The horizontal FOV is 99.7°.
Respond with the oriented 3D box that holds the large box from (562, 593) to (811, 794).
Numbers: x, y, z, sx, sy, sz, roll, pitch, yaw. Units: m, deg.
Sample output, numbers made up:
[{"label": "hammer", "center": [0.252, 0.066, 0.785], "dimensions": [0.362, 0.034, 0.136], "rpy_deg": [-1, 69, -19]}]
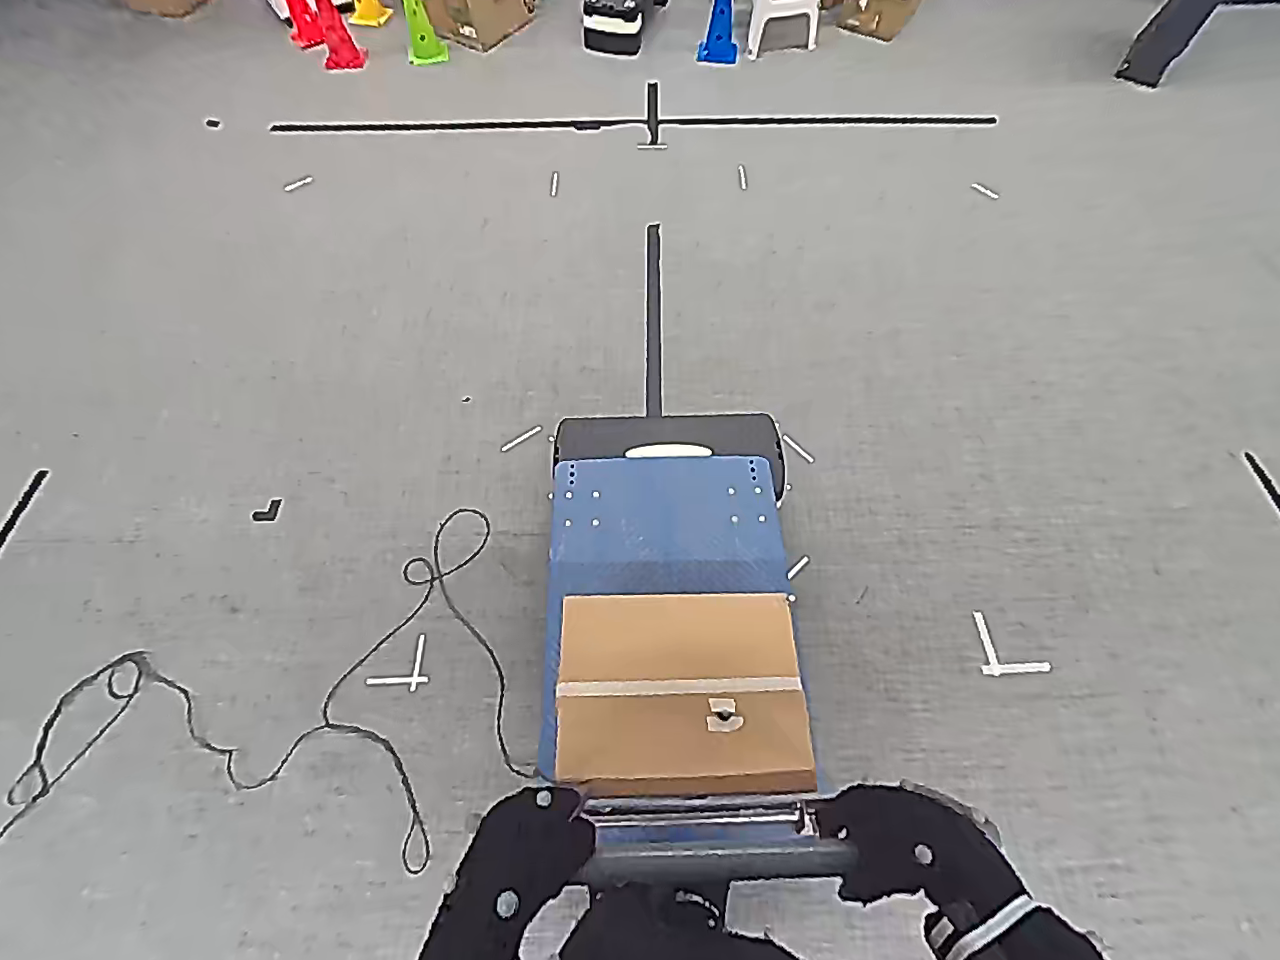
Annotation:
[{"label": "large box", "center": [0.064, 0.419, 1.047], "dimensions": [0.408, 0.320, 0.320], "rpy_deg": [-1, 62, -2]}]
